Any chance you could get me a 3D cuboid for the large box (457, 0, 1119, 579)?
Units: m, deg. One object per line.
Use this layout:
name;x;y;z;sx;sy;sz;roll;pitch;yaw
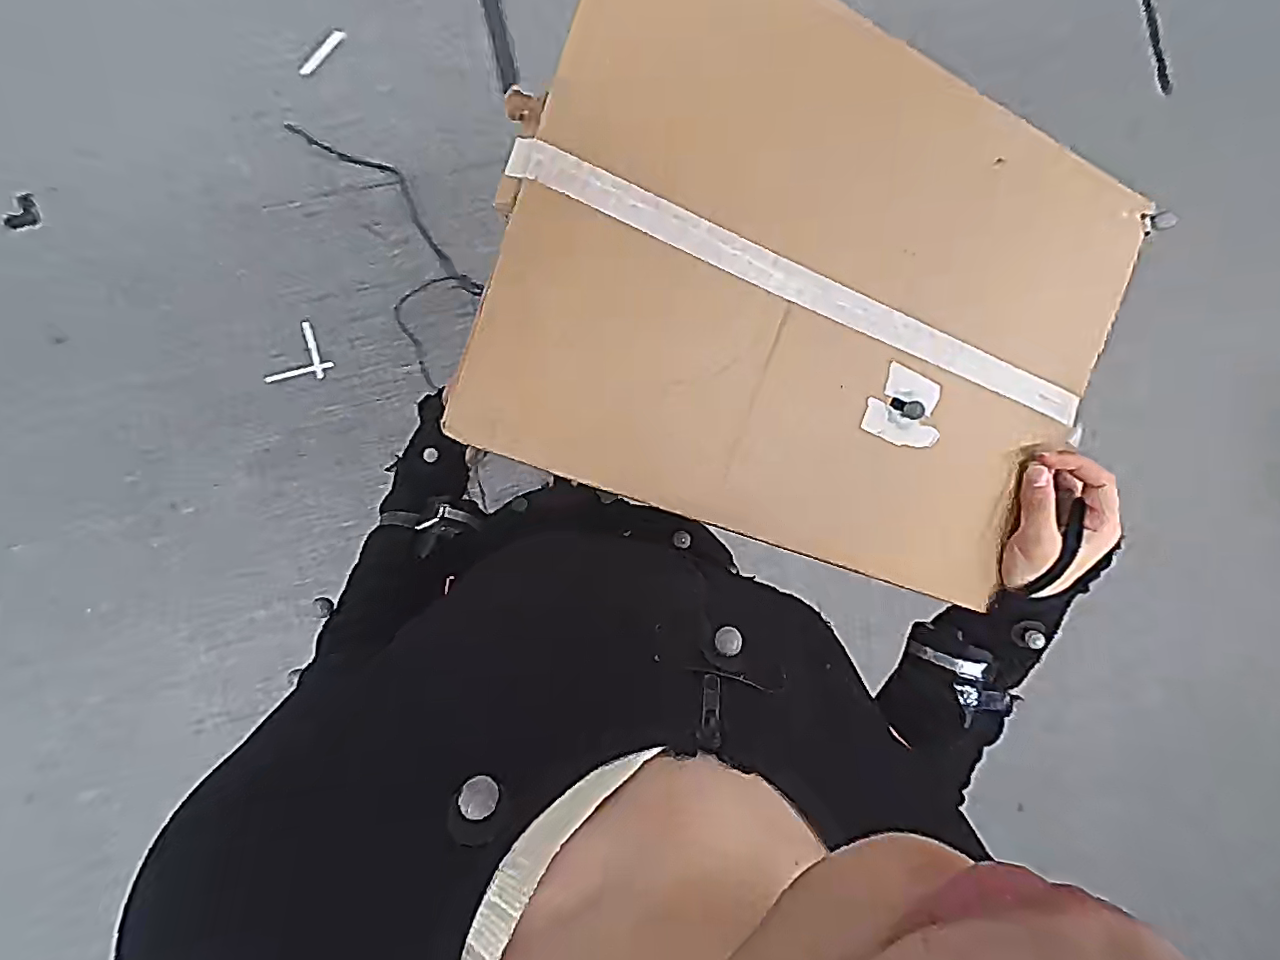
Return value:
large box;0.084;-0.141;0.490;0.408;0.320;0.320;17;94;-16
